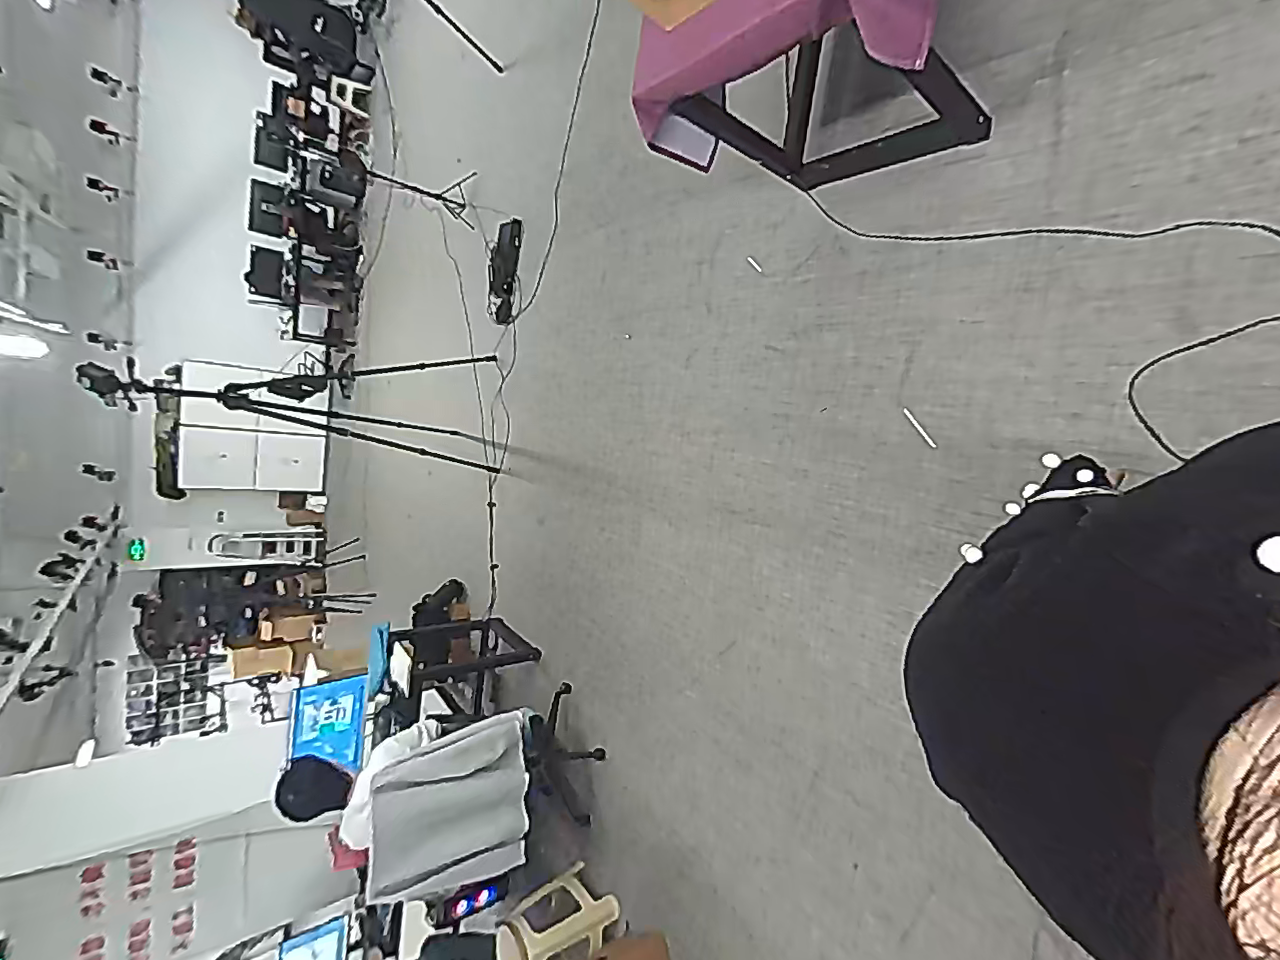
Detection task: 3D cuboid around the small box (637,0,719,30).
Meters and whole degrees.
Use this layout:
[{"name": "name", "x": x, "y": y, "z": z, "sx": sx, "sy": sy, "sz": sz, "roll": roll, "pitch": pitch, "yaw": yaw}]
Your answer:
[{"name": "small box", "x": 0.084, "y": -1.141, "z": 1.178, "sx": 0.179, "sy": 0.176, "sz": 0.168, "roll": 19, "pitch": 102, "yaw": 51}]
